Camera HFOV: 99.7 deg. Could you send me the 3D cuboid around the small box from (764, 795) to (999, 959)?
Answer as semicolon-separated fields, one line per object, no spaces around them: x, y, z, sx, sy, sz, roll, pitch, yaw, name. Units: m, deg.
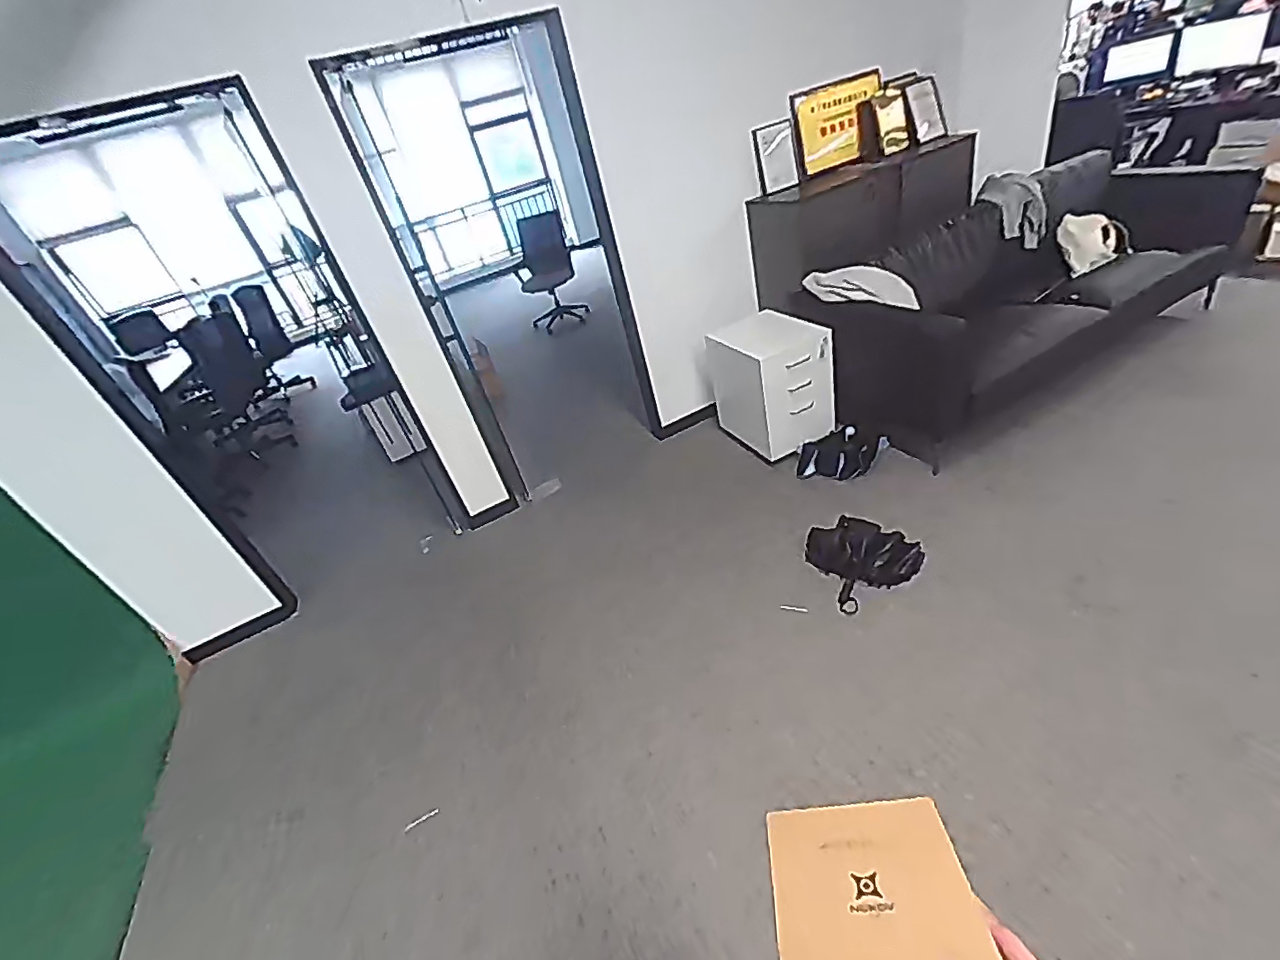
0.216;0.429;0.489;0.168;0.176;0.179;-12;13;11;small box
